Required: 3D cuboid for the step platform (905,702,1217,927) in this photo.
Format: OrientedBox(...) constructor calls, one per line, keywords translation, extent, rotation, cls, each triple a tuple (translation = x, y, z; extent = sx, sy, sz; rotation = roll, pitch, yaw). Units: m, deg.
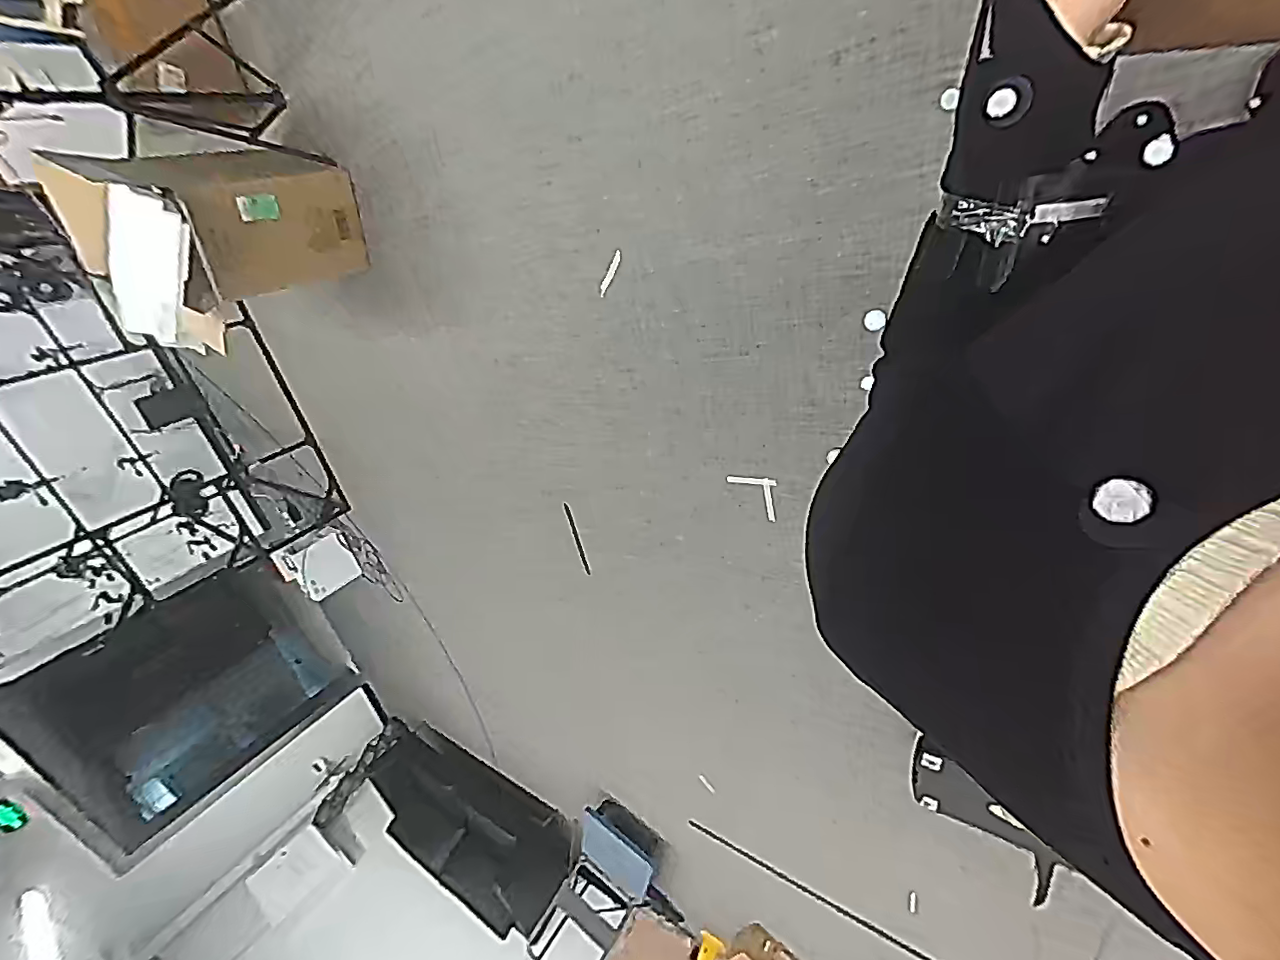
OrientedBox(translation=(1.136, 0.921, 1.536), extent=(0.684, 0.204, 0.286), rotation=(15, 127, 34), cls="step platform")
